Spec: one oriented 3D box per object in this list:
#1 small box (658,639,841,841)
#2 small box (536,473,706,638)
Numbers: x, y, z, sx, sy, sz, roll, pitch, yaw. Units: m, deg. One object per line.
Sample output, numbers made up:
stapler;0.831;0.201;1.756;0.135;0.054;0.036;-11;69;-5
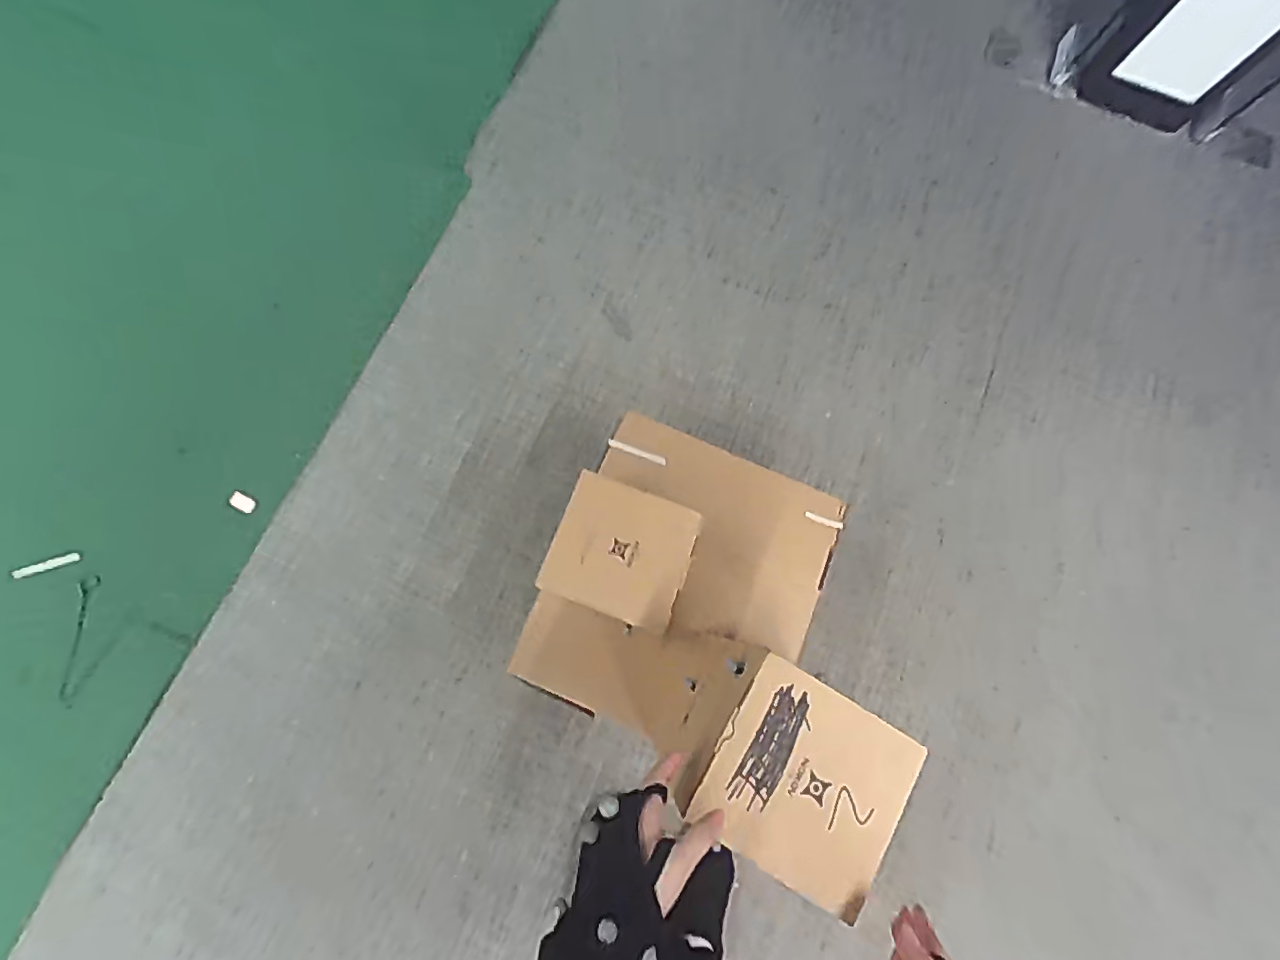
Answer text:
small box;0.134;0.327;0.726;0.168;0.176;0.179;27;76;2
small box;-0.026;0.112;0.770;0.179;0.176;0.168;21;74;2
